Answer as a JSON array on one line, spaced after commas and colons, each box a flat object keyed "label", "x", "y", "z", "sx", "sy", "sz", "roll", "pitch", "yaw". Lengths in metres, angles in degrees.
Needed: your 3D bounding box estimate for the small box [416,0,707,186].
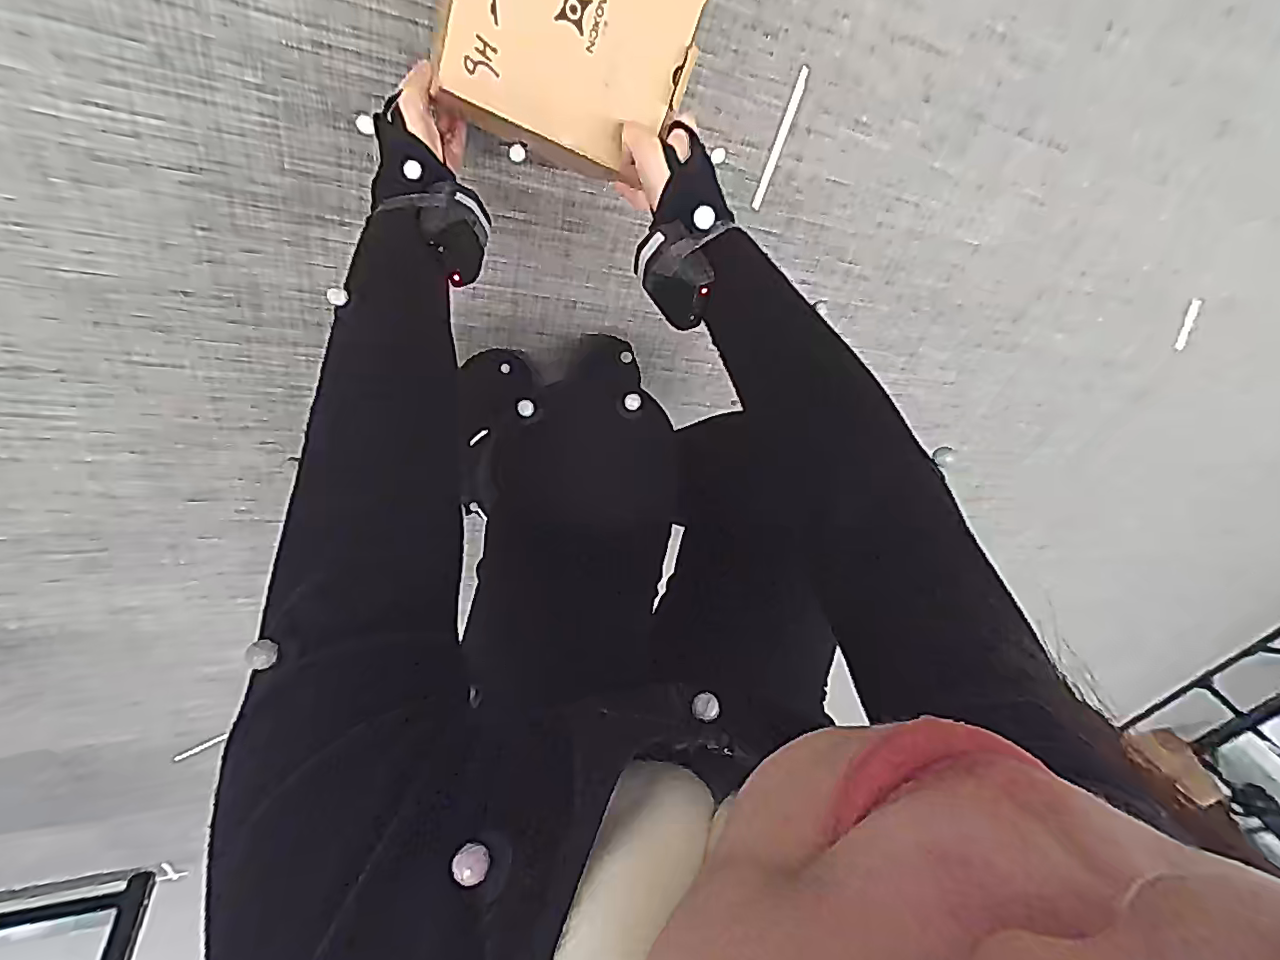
[{"label": "small box", "x": -0.073, "y": -0.370, "z": 0.445, "sx": 0.179, "sy": 0.176, "sz": 0.168, "roll": 10, "pitch": 115, "yaw": -30}]
